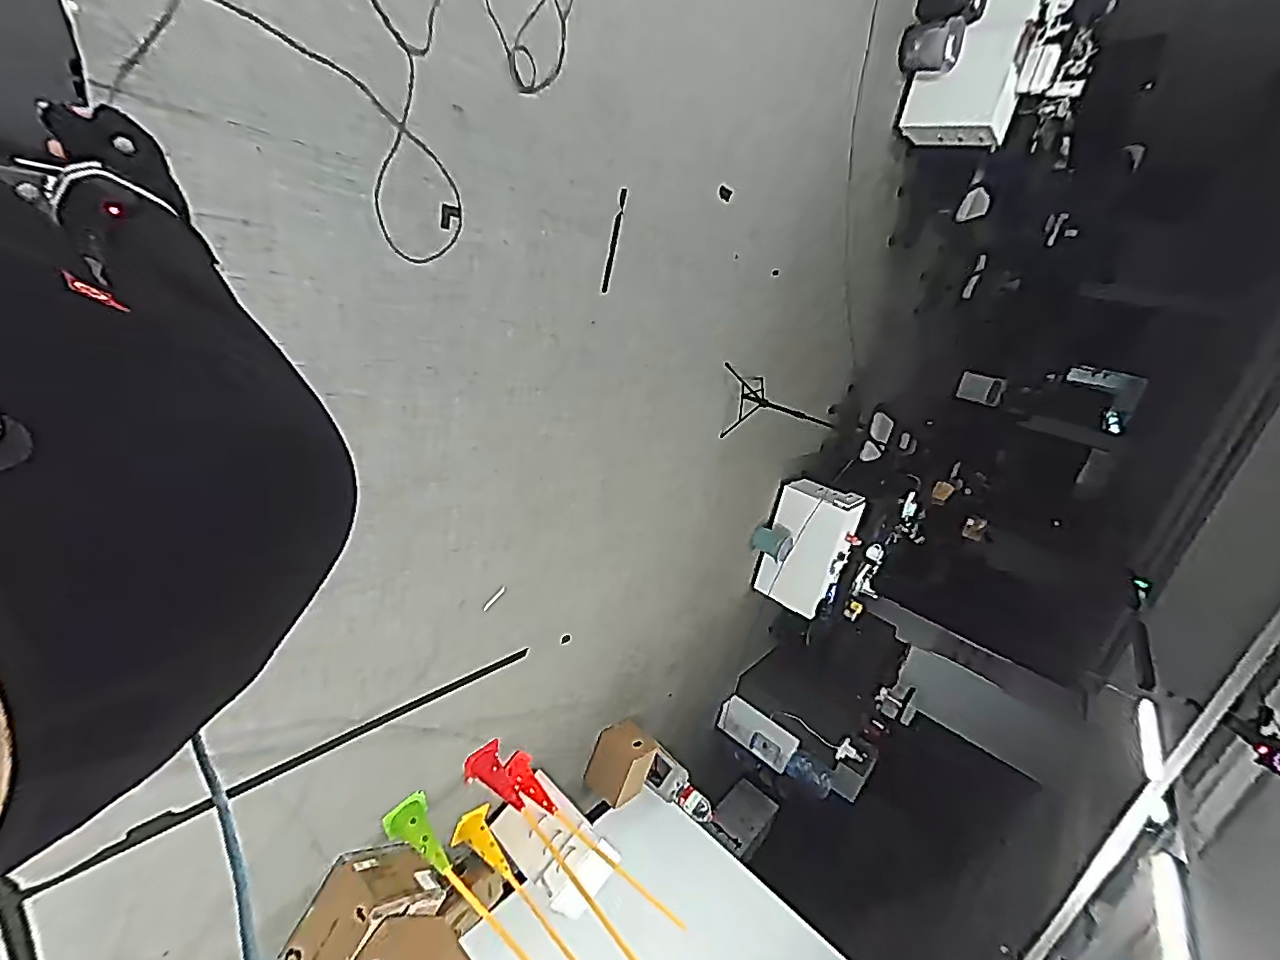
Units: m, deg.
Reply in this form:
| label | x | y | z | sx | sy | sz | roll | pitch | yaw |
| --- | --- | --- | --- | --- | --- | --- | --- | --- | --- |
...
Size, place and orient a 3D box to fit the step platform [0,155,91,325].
| label | x | y | z | sx | sy | sz | roll | pitch | yaw |
| --- | --- | --- | --- | --- | --- | --- | --- | --- | --- |
| step platform | -1.322 | -0.405 | 0.822 | 0.684 | 0.204 | 0.286 | -13 | 122 | -47 |
